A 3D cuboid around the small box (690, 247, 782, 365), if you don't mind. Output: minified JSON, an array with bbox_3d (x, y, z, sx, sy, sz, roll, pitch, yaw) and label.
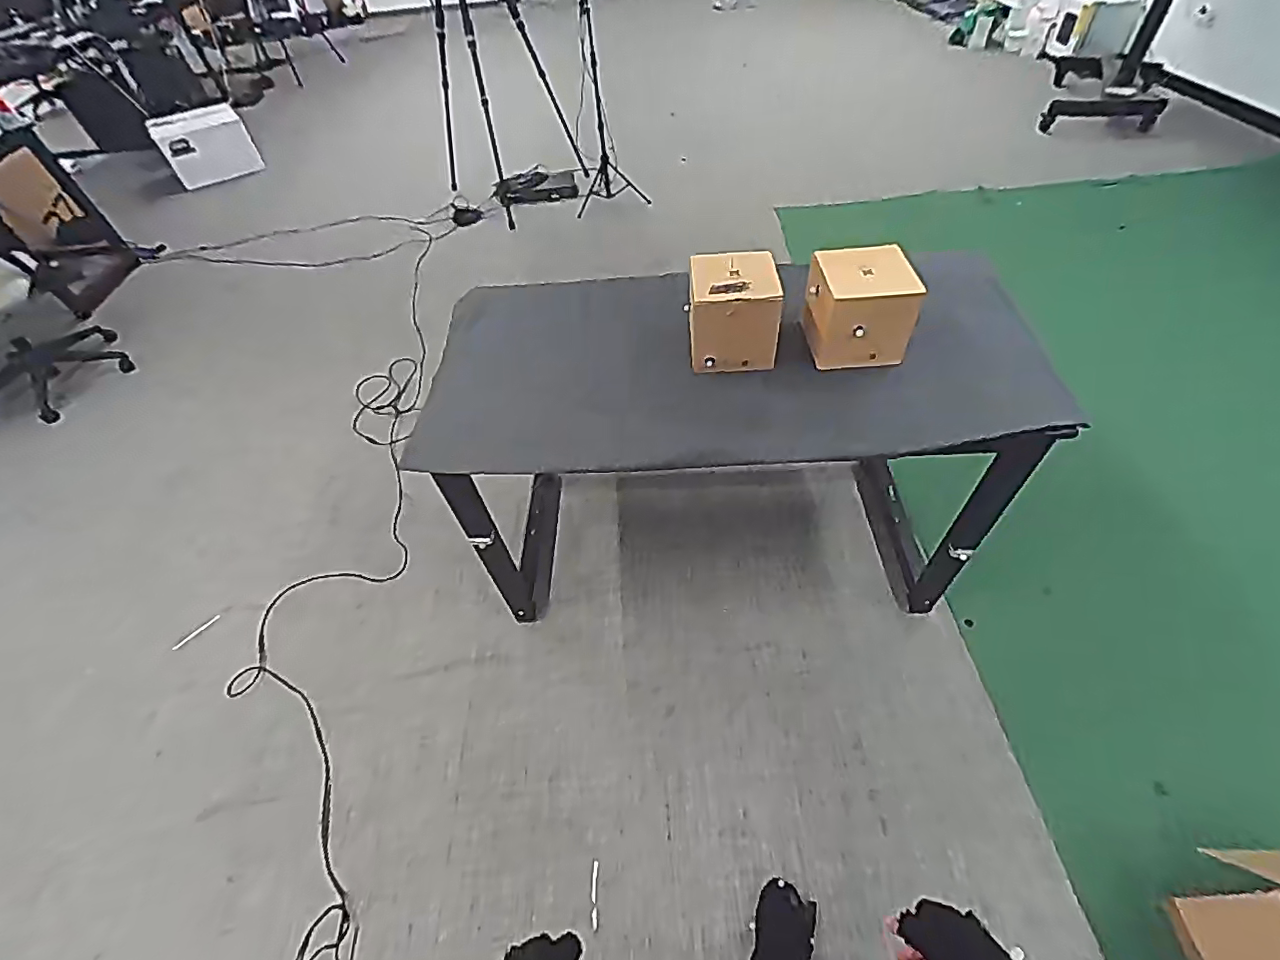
[{"bbox_3d":[0.189,-0.347,1.099,0.168,0.176,0.179,-2,50,4],"label":"small box"}]

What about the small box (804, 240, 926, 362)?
[{"bbox_3d":[0.436,-0.348,1.077,0.168,0.176,0.179,-4,50,3],"label":"small box"}]
